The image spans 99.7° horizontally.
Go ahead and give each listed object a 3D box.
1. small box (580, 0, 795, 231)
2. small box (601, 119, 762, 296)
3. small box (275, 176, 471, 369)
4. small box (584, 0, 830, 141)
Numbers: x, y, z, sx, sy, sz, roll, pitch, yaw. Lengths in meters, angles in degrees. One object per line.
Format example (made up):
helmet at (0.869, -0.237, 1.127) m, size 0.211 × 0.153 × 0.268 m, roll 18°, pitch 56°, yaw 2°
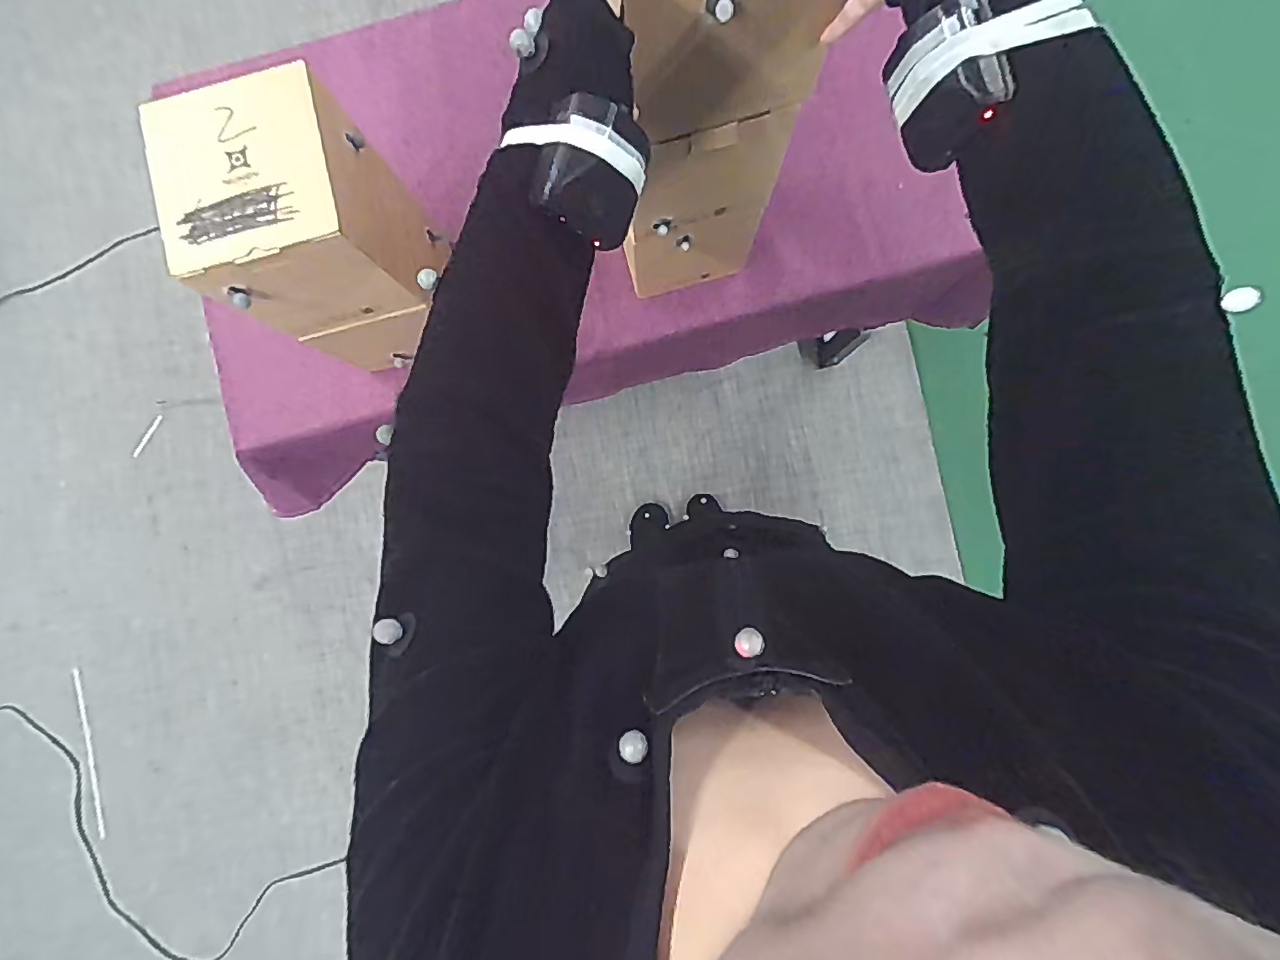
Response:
small box at (0.046, -0.392, 0.572) m, size 0.168 × 0.176 × 0.179 m, roll -15°, pitch 86°, yaw 2°
small box at (0.052, -0.381, 0.736) m, size 0.168 × 0.176 × 0.179 m, roll -15°, pitch 86°, yaw 3°
small box at (-0.354, -0.272, 0.745) m, size 0.168 × 0.176 × 0.179 m, roll -14°, pitch 87°, yaw 2°
small box at (0.042, -0.397, 0.408) m, size 0.179 × 0.176 × 0.168 m, roll -14°, pitch 87°, yaw 1°
